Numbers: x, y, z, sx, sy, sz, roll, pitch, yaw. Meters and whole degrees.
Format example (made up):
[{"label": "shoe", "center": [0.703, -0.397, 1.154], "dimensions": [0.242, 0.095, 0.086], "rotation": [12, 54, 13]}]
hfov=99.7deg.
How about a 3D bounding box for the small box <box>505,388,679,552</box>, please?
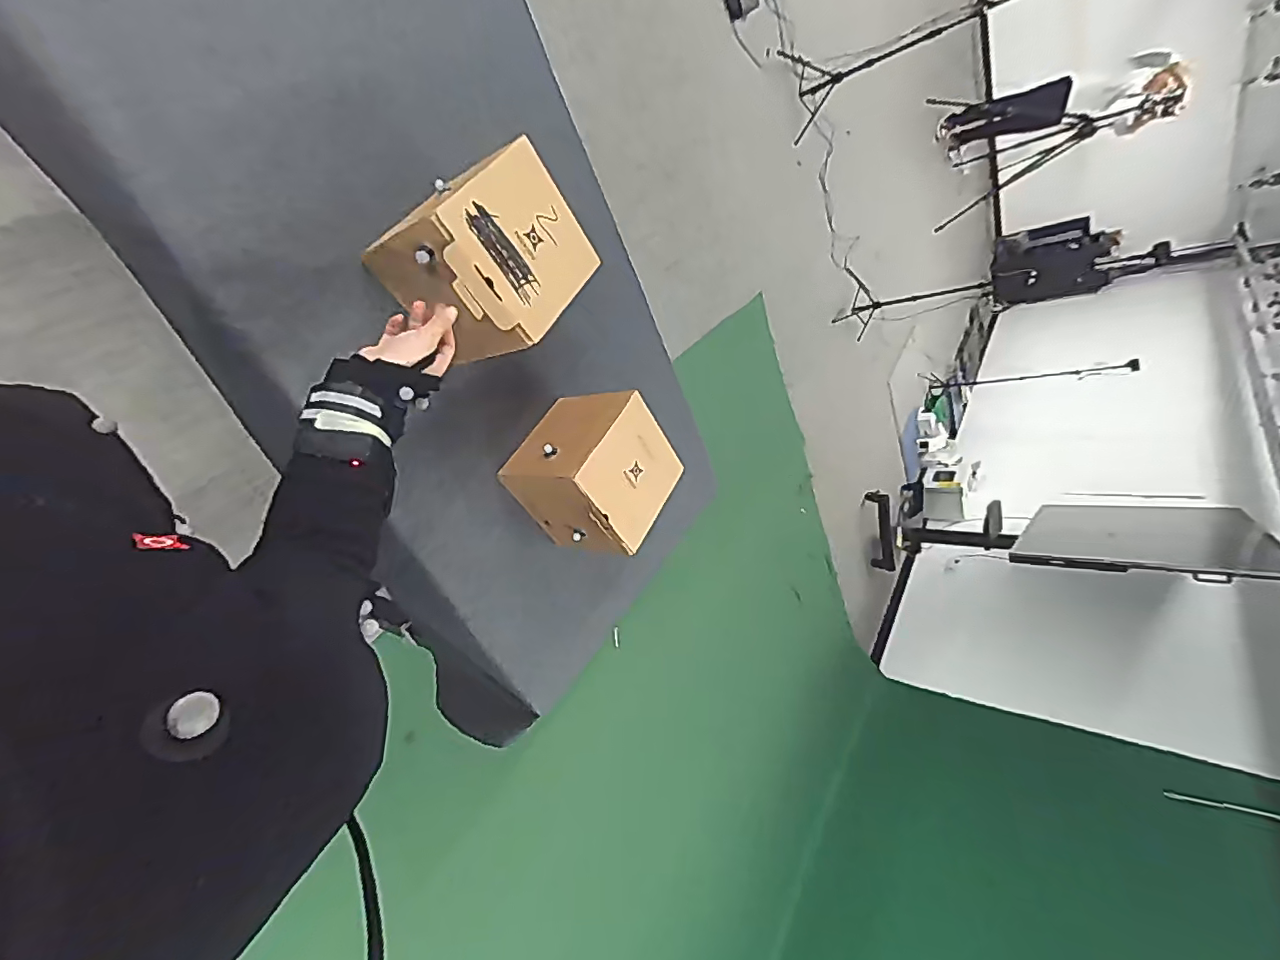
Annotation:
[{"label": "small box", "center": [-0.075, -0.016, 0.815], "dimensions": [0.168, 0.176, 0.179], "rotation": [56, 51, -36]}]
